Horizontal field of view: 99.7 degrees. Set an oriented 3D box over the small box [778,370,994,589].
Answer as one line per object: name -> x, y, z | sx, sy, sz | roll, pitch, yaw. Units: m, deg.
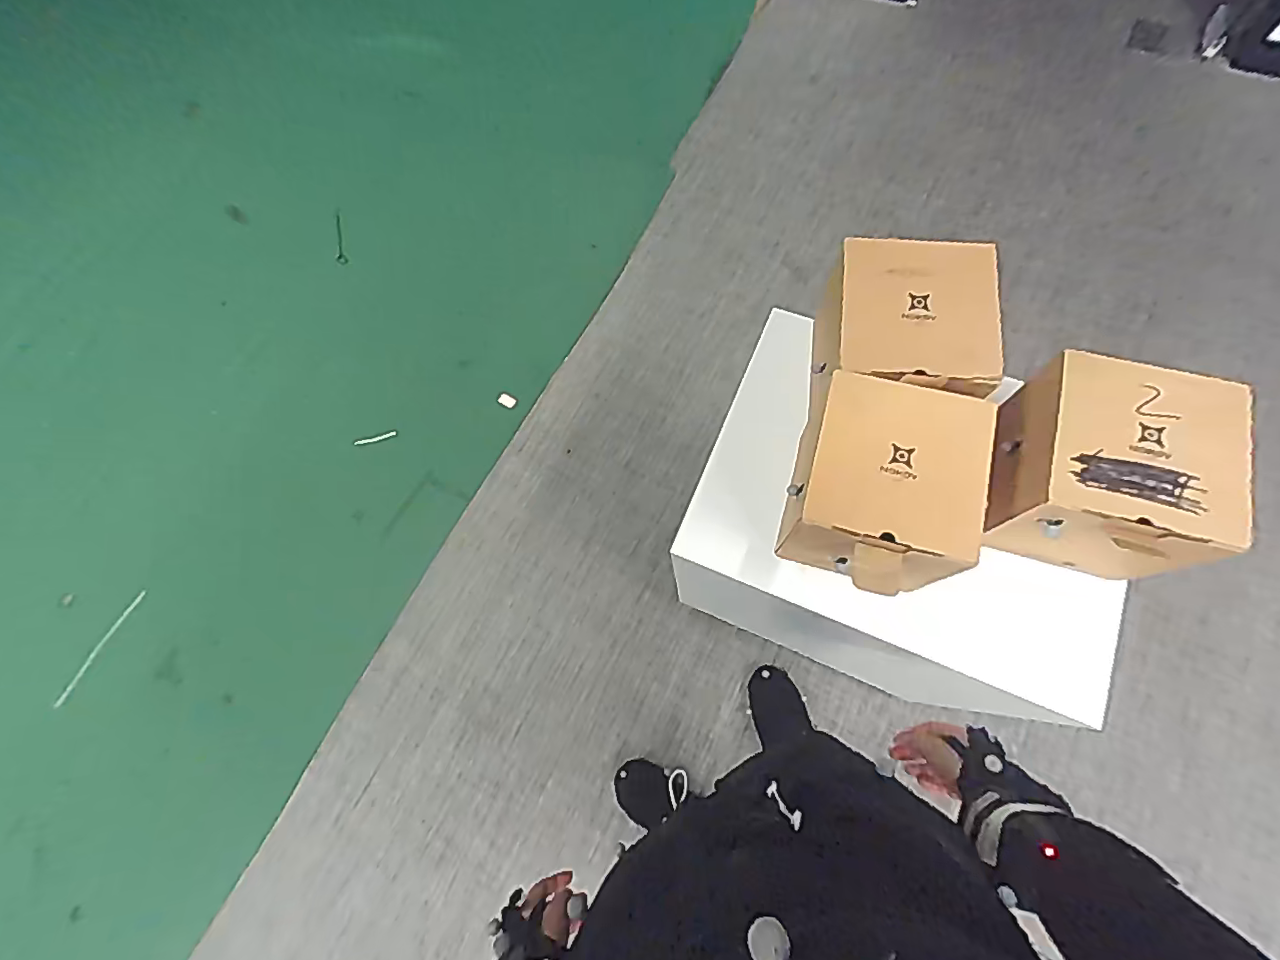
small box -> 0.261, 0.008, 0.606 | 0.168, 0.176, 0.179 | 14, 73, 10
